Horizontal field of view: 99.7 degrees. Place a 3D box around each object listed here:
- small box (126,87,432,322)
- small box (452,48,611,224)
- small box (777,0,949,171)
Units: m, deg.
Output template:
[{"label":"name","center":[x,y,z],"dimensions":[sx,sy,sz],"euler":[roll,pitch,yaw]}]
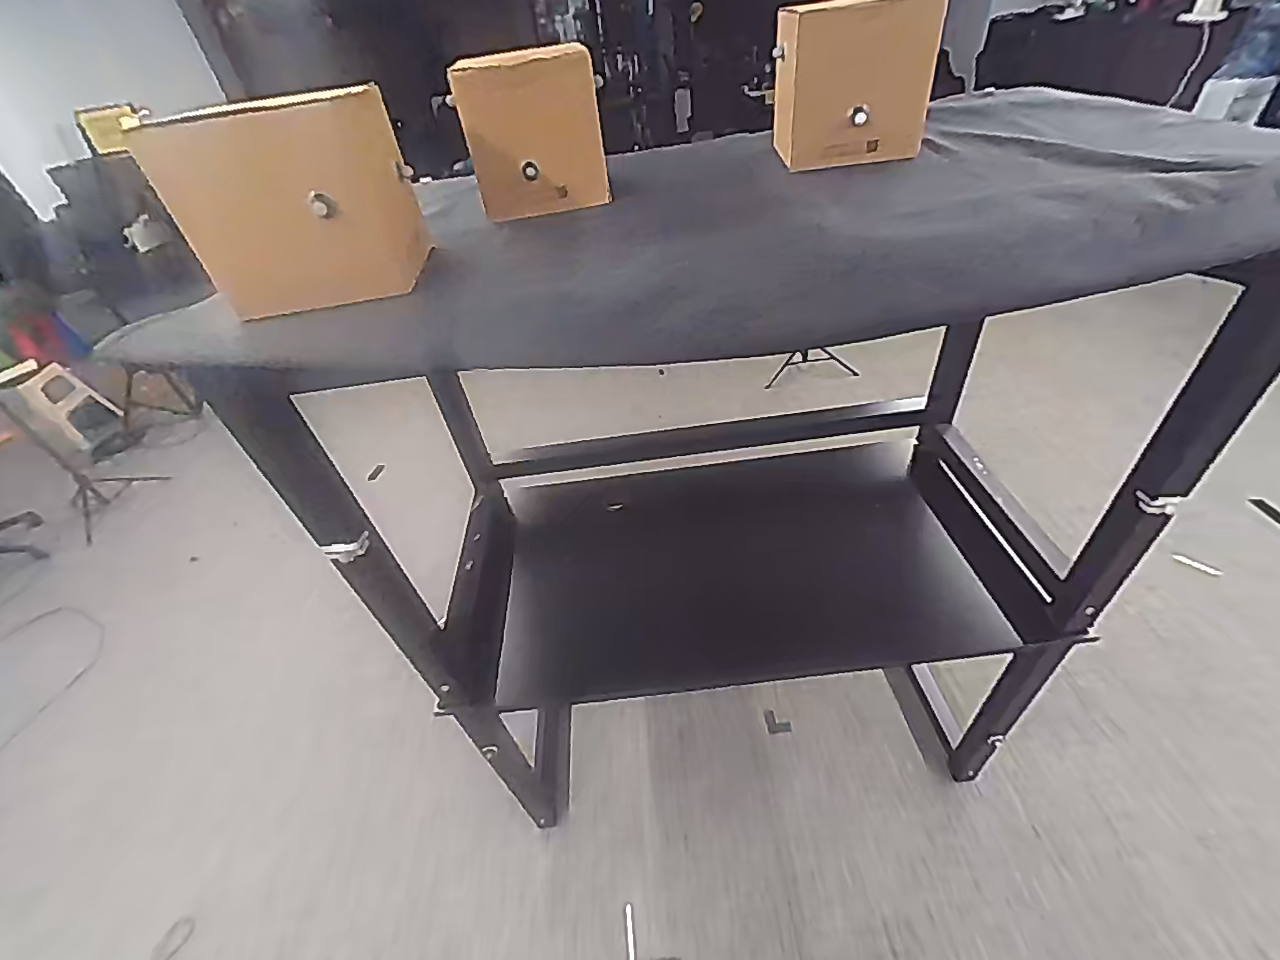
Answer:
[{"label":"small box","center":[-0.332,-0.279,0.549],"dimensions":[0.179,0.176,0.168],"euler":[-10,40,-2]},{"label":"small box","center":[-0.138,-0.464,0.729],"dimensions":[0.168,0.176,0.179],"euler":[-11,42,-3]},{"label":"small box","center":[0.280,-0.532,0.728],"dimensions":[0.168,0.176,0.179],"euler":[-4,42,7]}]
